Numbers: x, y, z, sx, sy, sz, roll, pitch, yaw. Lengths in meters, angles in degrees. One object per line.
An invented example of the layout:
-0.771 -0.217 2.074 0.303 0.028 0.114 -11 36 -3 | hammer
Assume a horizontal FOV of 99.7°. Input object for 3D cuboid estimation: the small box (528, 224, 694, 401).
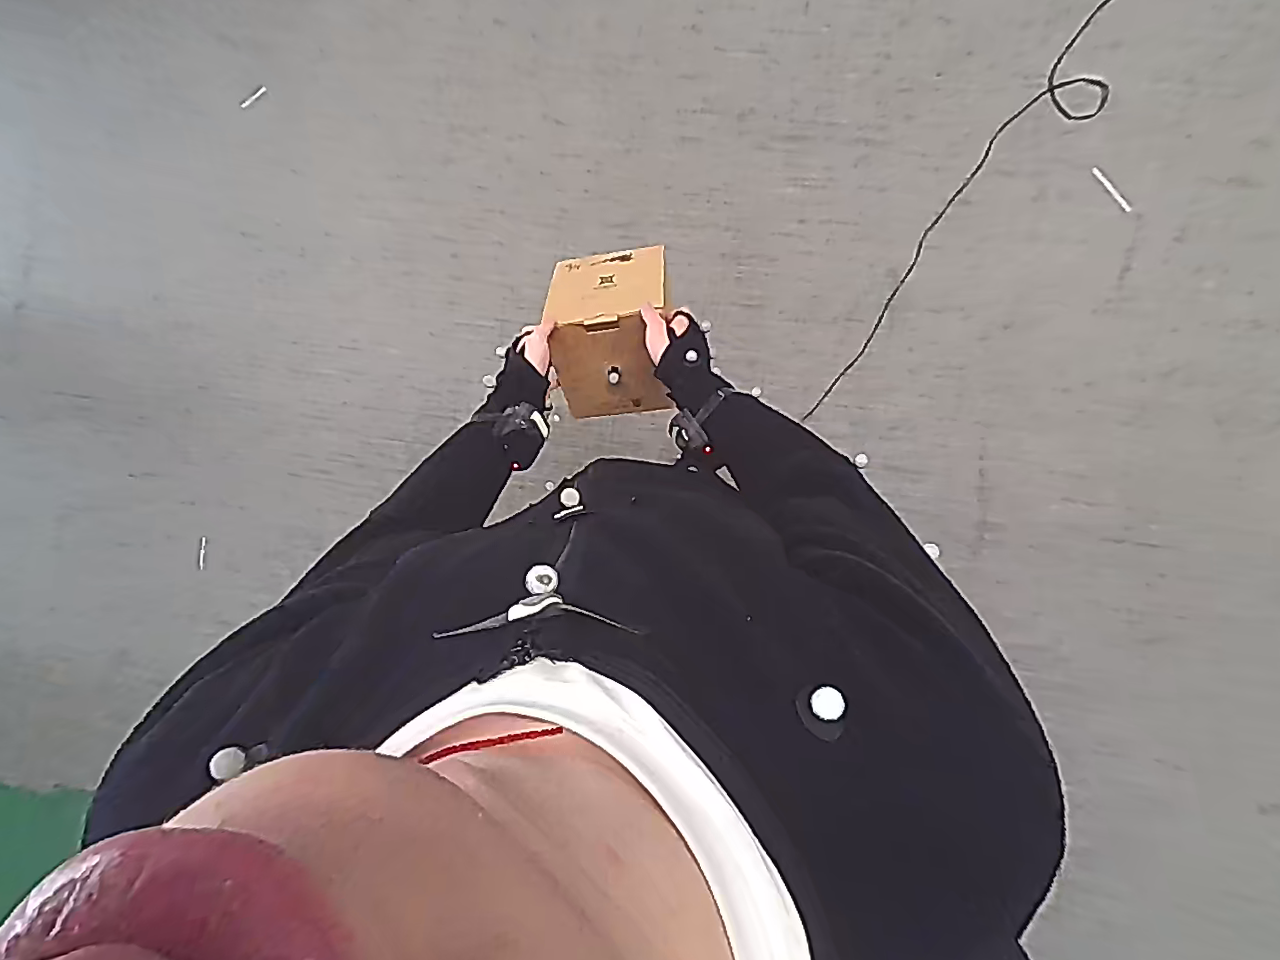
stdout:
-0.037 -0.247 0.807 0.179 0.176 0.168 -28 48 -11 | small box
